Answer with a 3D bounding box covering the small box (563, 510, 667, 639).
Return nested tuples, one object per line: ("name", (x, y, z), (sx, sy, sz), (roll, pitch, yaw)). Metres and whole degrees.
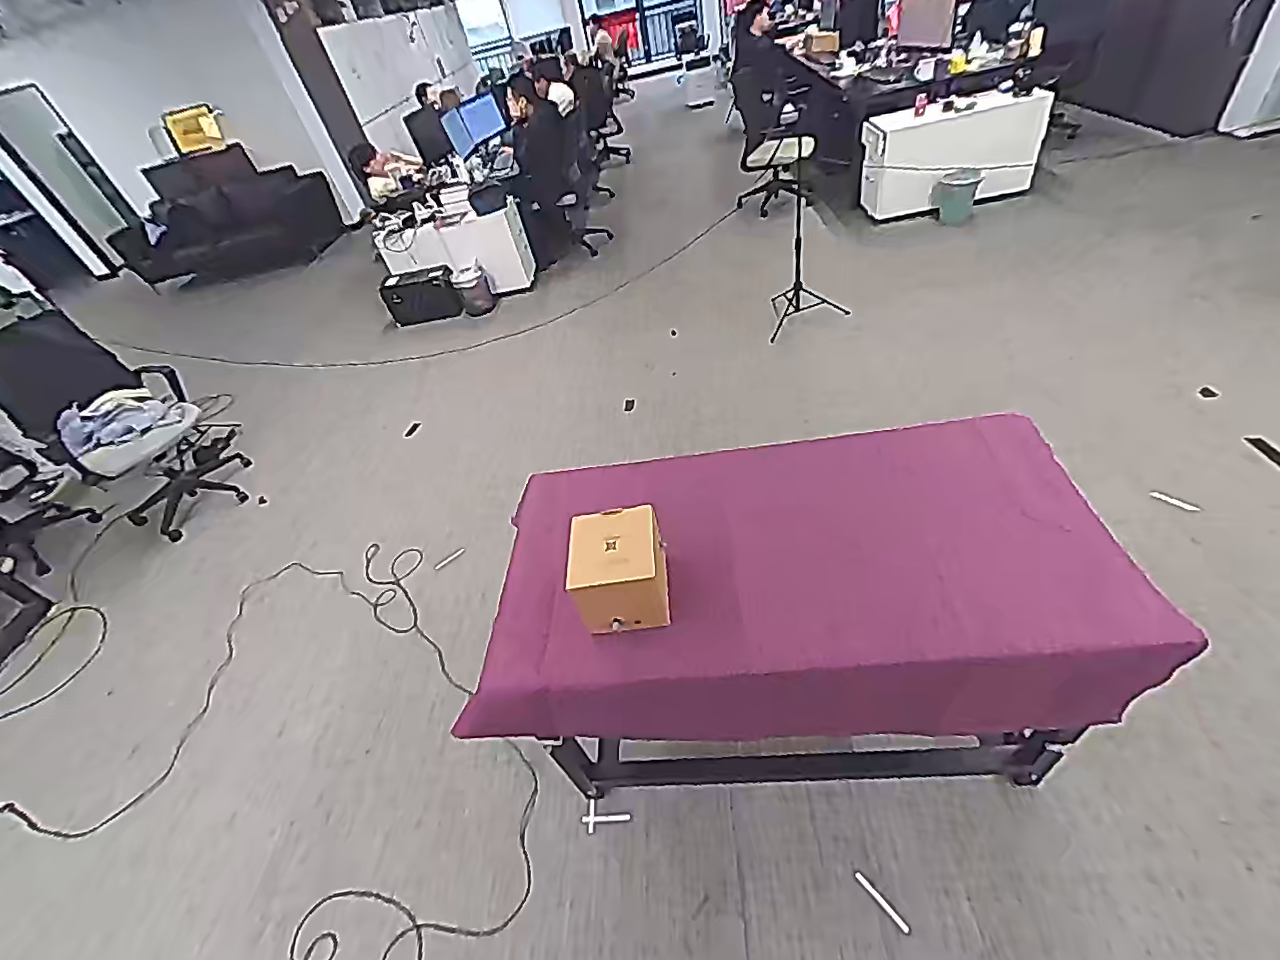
("small box", (-0.042, 0.187, 1.064), (0.168, 0.176, 0.179), (-9, 43, 7))
